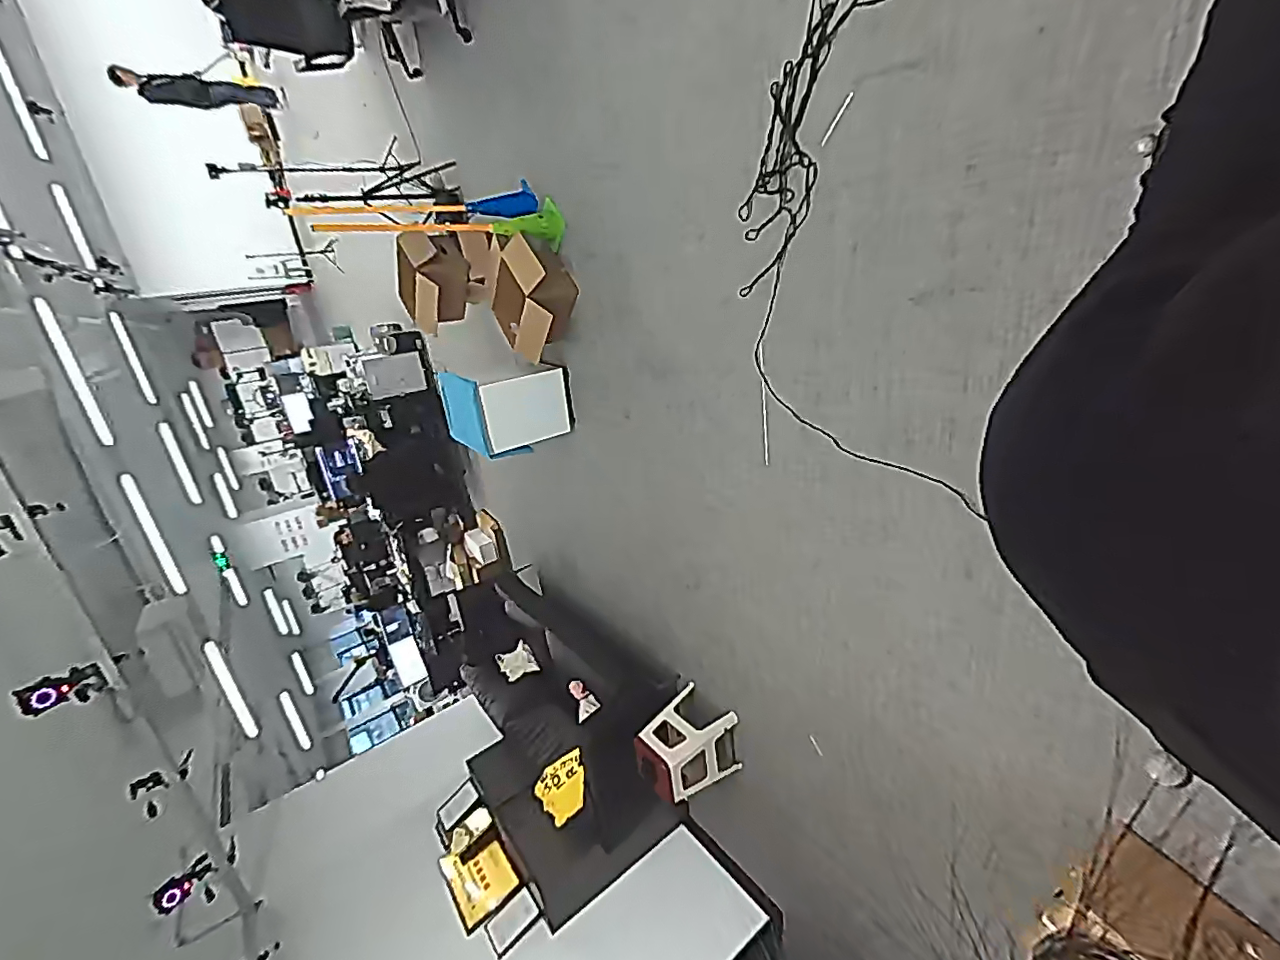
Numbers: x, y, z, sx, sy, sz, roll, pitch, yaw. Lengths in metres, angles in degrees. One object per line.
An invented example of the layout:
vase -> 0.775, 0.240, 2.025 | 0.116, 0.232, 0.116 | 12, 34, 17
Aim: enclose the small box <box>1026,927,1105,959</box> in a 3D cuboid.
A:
small box -> 1.057, 1.256, 1.322 | 0.168, 0.176, 0.179 | 40, 140, 38
